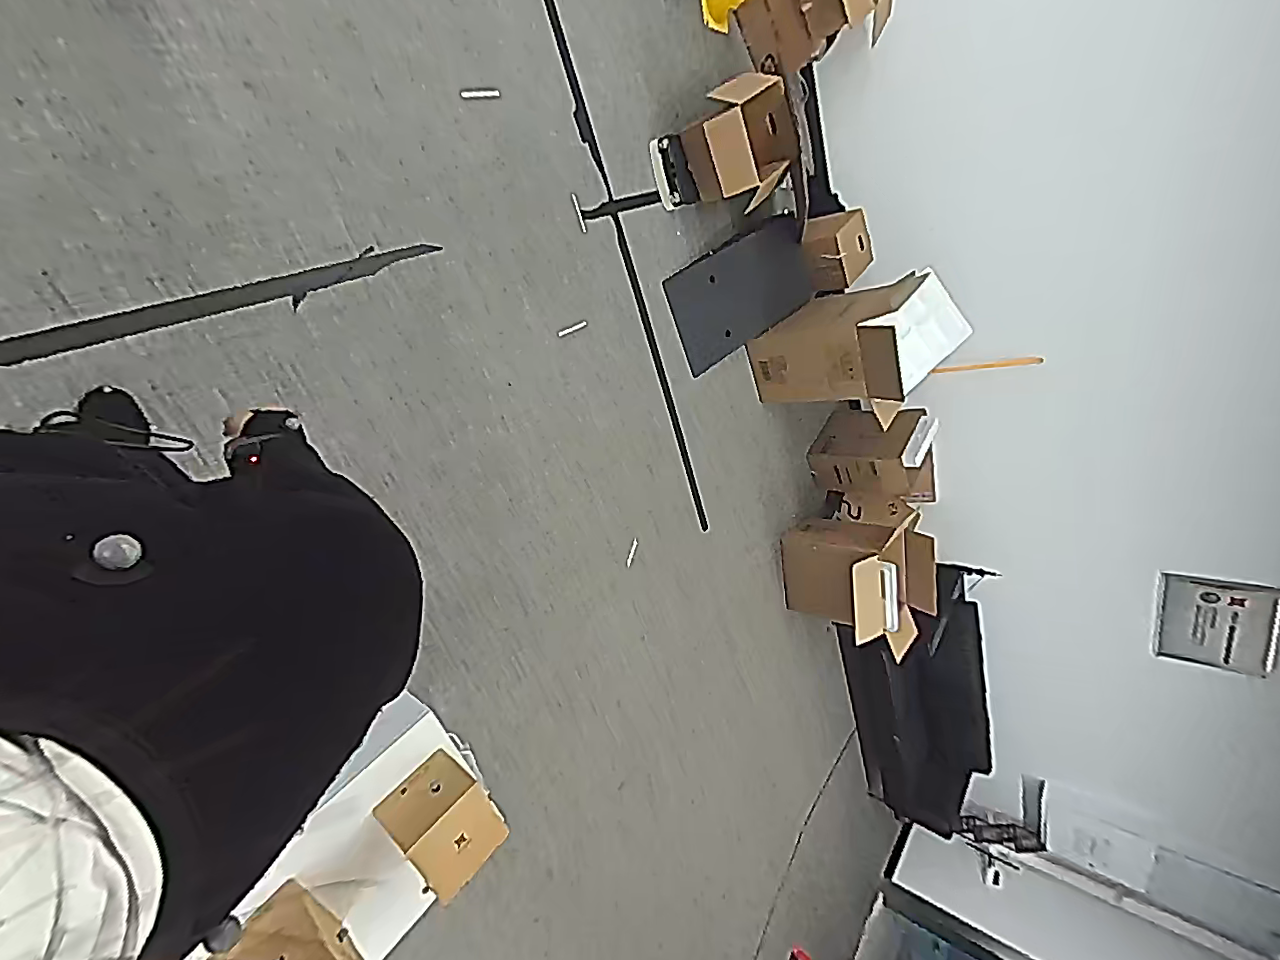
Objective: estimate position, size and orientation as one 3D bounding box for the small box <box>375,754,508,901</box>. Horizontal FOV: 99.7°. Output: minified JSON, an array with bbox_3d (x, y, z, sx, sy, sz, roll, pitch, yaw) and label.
[{"bbox_3d":[-0.415,0.707,1.126,0.168,0.176,0.179,-38,121,-38],"label":"small box"}]

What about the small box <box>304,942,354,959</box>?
[{"bbox_3d":[-0.484,0.863,0.820,0.168,0.176,0.179,-41,122,-37],"label":"small box"}]

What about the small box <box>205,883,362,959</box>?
[{"bbox_3d":[-0.606,0.851,0.931,0.168,0.176,0.179,-42,124,-38],"label":"small box"}]
